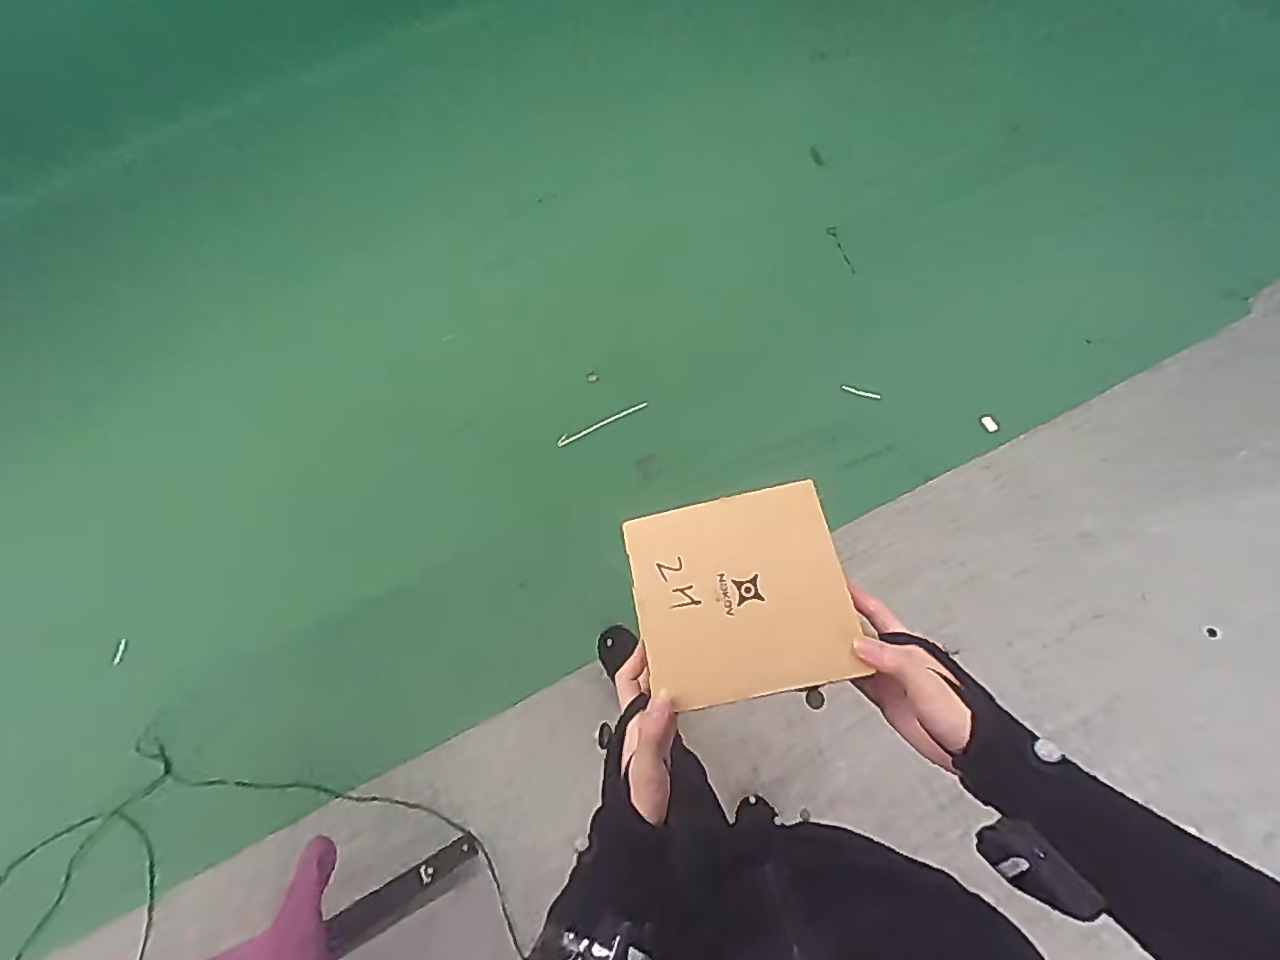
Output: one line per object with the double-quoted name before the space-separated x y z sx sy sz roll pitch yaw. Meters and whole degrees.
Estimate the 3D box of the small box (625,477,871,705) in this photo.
"small box" 0.095 0.116 0.526 0.179 0.176 0.168 -13 66 6
